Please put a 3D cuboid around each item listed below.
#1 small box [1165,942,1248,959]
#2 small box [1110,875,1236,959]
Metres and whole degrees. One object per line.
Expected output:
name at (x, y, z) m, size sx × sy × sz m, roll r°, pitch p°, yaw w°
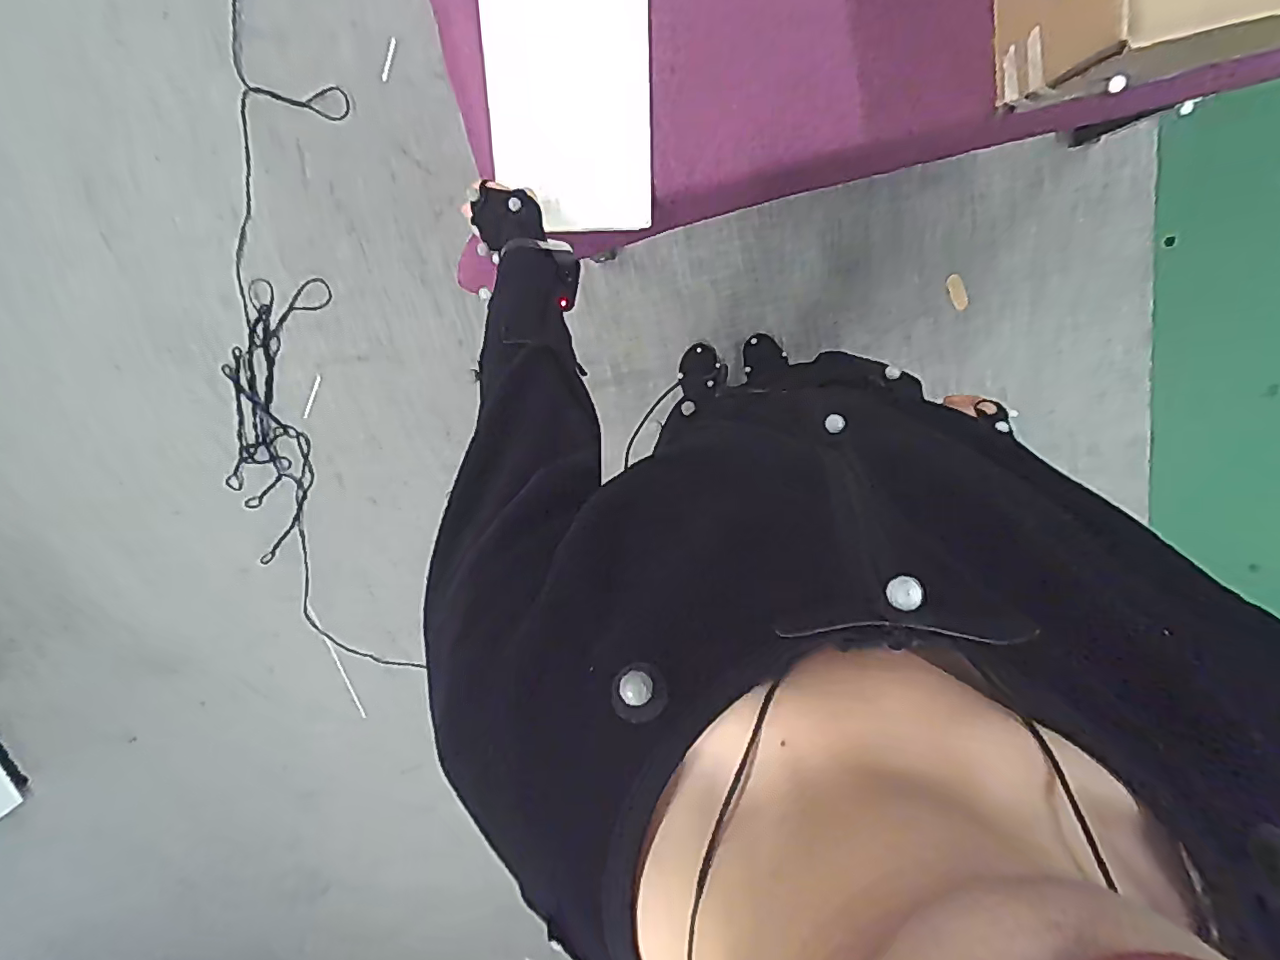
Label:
small box at (1.325, 1.194, 1.208) m, size 0.179 × 0.176 × 0.168 m, roll -26°, pitch 102°, yaw 11°
small box at (1.340, 1.149, 1.365) m, size 0.179 × 0.176 × 0.168 m, roll -21°, pitch 104°, yaw 11°
